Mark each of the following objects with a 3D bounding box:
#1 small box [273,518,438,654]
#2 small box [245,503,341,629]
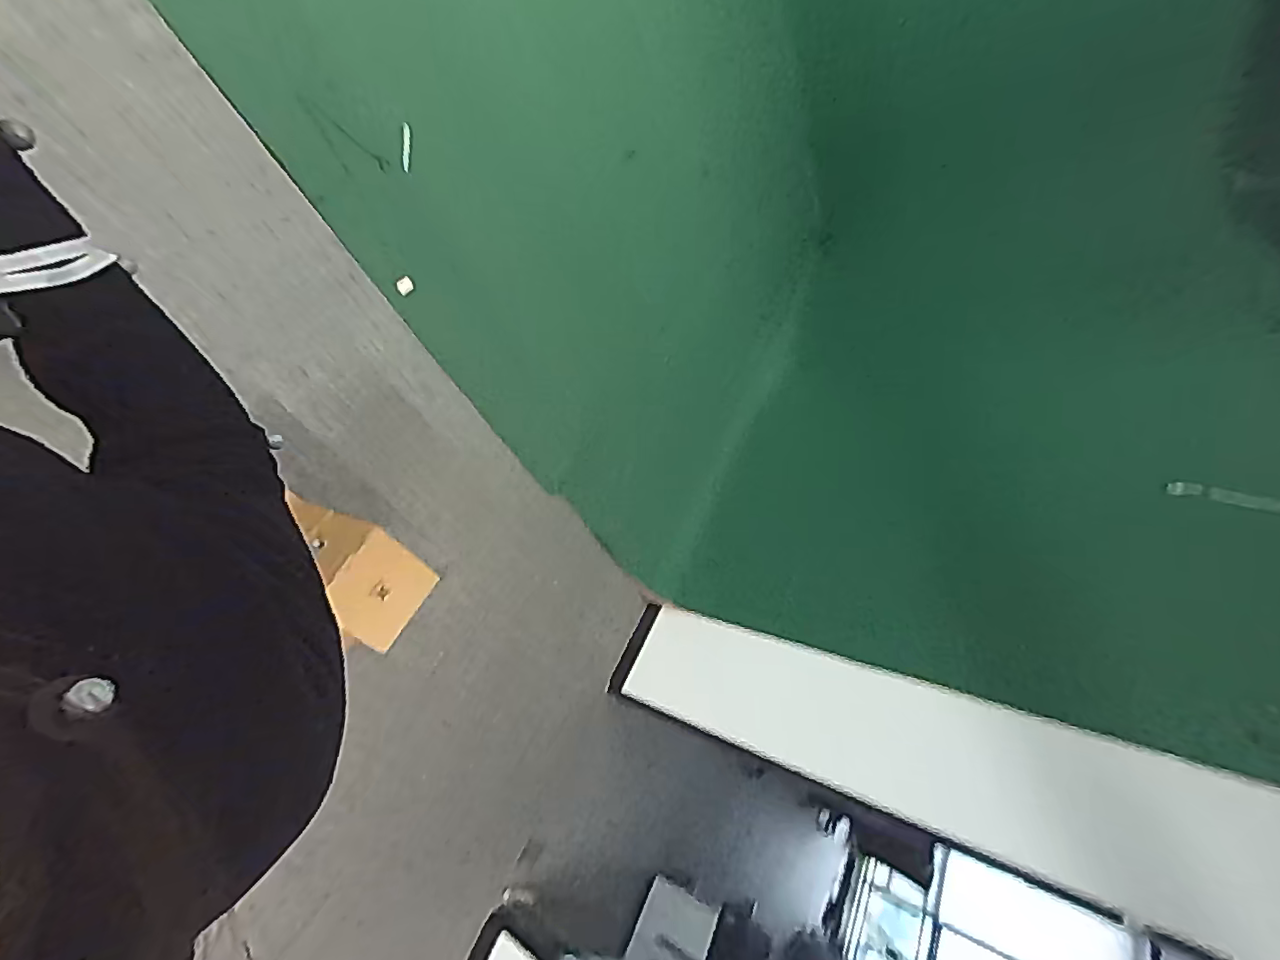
[{"bbox_3d":[-0.524,0.189,1.004,0.168,0.176,0.179,-58,138,-28],"label":"small box"},{"bbox_3d":[-0.656,0.170,1.097,0.179,0.176,0.168,-60,140,-27],"label":"small box"}]
